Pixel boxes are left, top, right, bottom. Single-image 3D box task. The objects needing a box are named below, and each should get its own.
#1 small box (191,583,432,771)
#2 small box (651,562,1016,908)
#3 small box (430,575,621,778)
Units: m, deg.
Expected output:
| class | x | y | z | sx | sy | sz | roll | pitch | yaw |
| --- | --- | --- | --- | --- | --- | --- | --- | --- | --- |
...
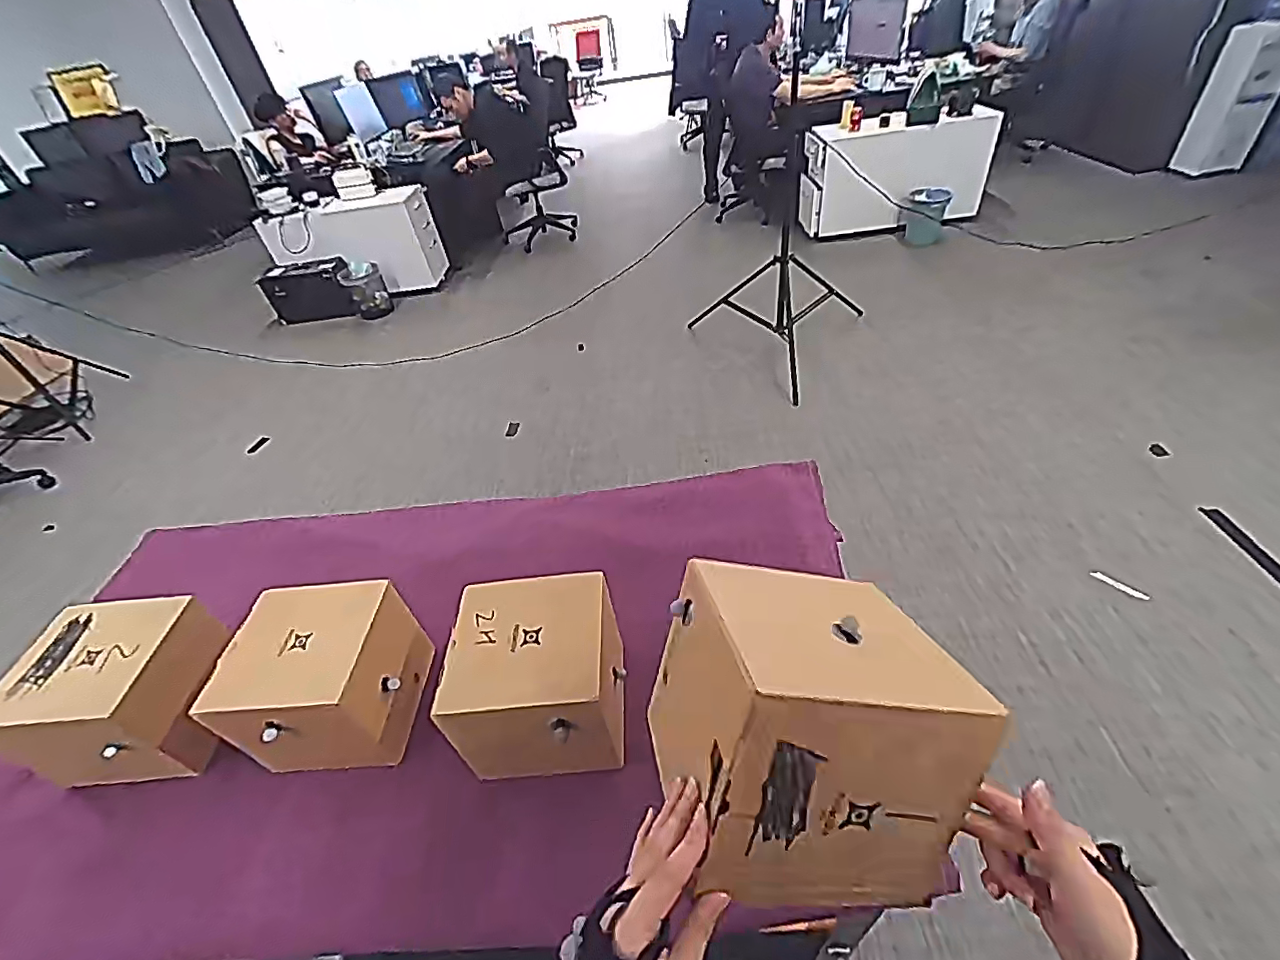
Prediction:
| class | x | y | z | sx | sy | sz | roll | pitch | yaw |
| --- | --- | --- | --- | --- | --- | --- | --- | --- | --- |
| small box | -0.393 | 0.253 | 0.690 | 0.179 | 0.176 | 0.168 | -6 | 42 | 5 |
| small box | 0.116 | 0.178 | 0.409 | 0.179 | 0.168 | 0.176 | 10 | 19 | -13 |
| small box | -0.118 | 0.236 | 0.649 | 0.179 | 0.176 | 0.168 | -7 | 40 | 4 |
